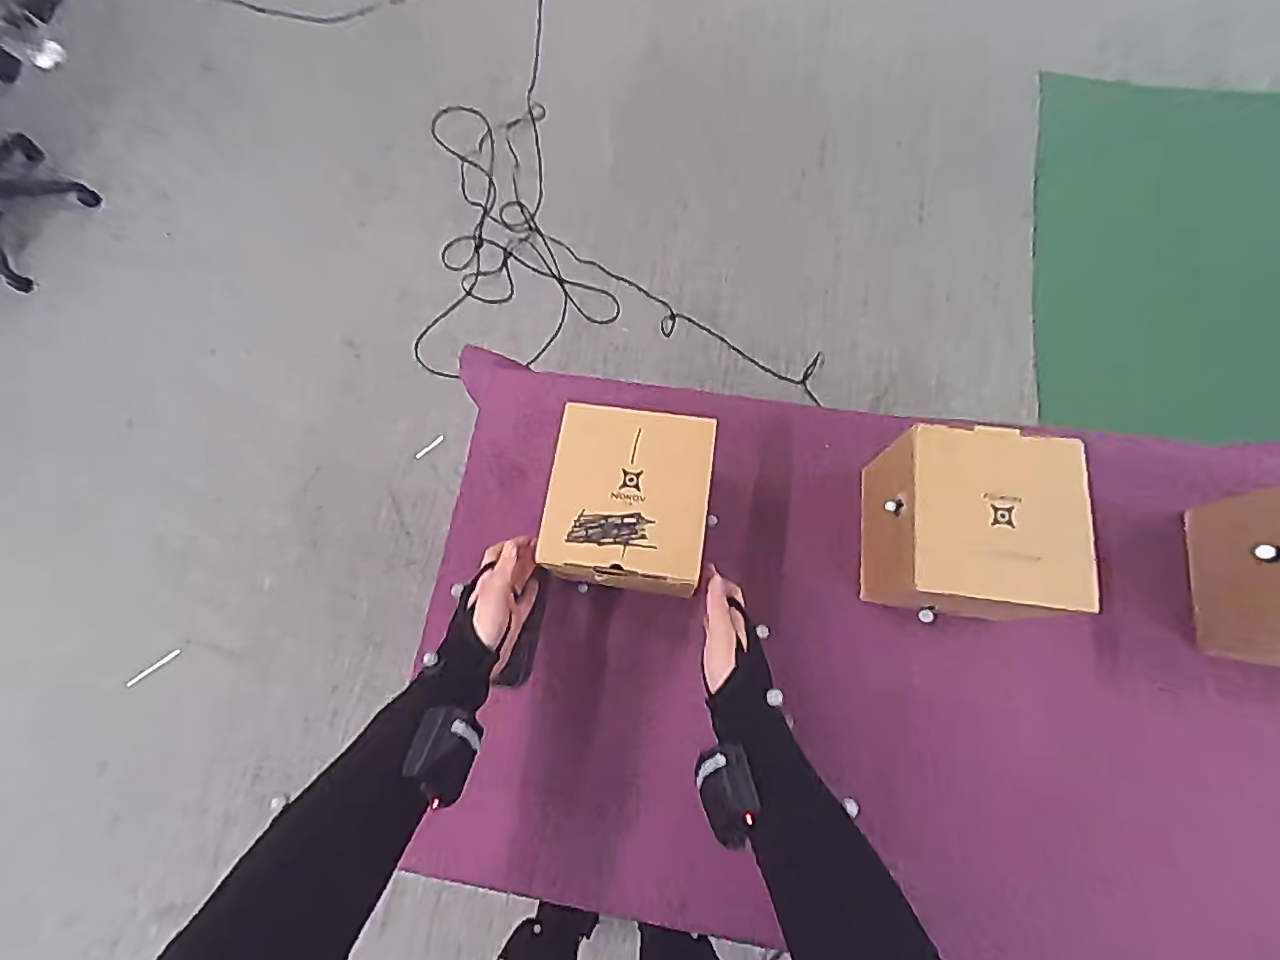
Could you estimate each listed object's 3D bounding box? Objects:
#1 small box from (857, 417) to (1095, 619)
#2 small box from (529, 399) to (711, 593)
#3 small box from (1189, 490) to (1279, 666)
[{"bbox_3d":[0.351,0.051,0.600,0.168,0.176,0.179,7,73,6],"label":"small box"},{"bbox_3d":[-0.014,0.029,0.624,0.168,0.176,0.179,7,72,5],"label":"small box"},{"bbox_3d":[0.734,0.104,0.563,0.168,0.176,0.179,9,73,7],"label":"small box"}]
